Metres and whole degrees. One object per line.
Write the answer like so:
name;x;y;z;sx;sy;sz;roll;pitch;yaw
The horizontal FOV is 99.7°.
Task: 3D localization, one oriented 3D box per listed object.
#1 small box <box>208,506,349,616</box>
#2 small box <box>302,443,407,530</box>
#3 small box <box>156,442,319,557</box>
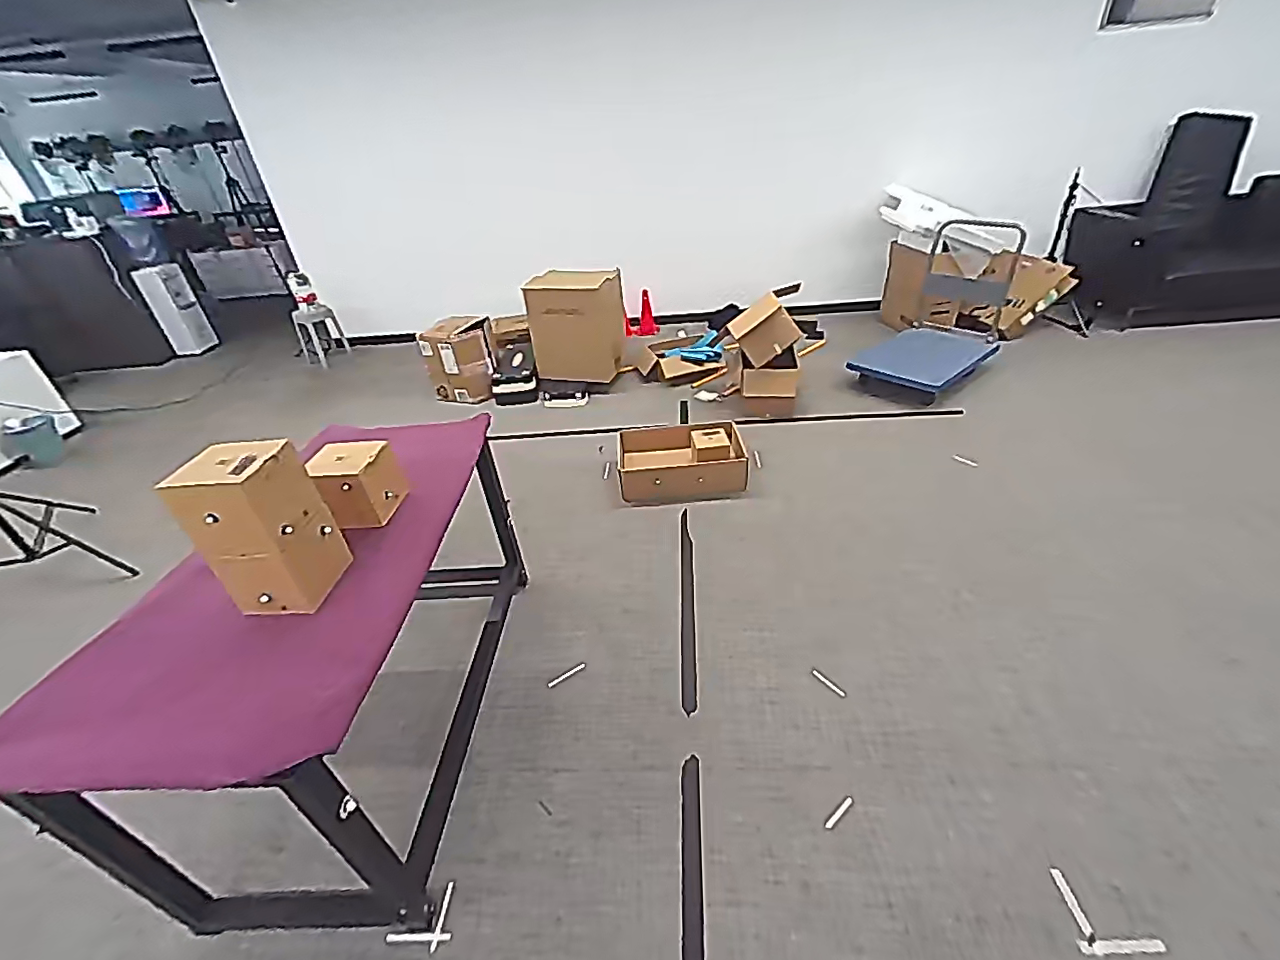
small box;-0.775;0.177;1.187;0.168;0.176;0.179;-3;34;6
small box;-0.749;0.020;1.420;0.179;0.176;0.168;-3;34;6
small box;-0.798;0.040;1.098;0.179;0.176;0.168;-4;33;4
